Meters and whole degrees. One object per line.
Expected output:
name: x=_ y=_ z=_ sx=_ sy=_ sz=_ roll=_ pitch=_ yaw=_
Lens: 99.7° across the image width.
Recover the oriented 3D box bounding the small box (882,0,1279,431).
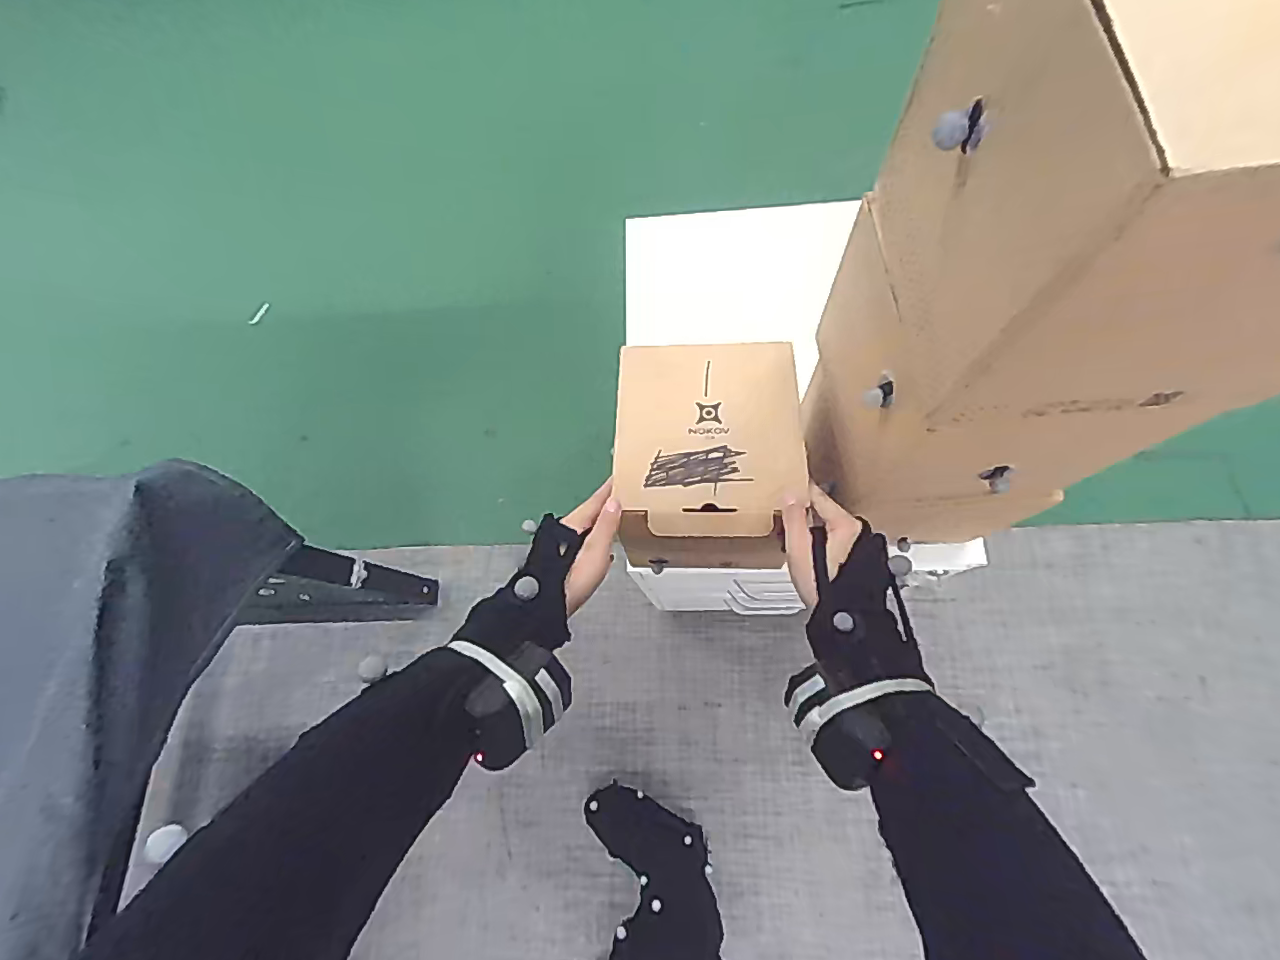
small box: x=0.227 y=-0.138 z=0.242 sx=0.168 sy=0.176 sz=0.179 roll=-3 pitch=70 yaw=5

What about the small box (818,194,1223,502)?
small box: x=0.241 y=-0.087 z=0.397 sx=0.168 sy=0.176 sz=0.179 roll=-5 pitch=71 yaw=3
